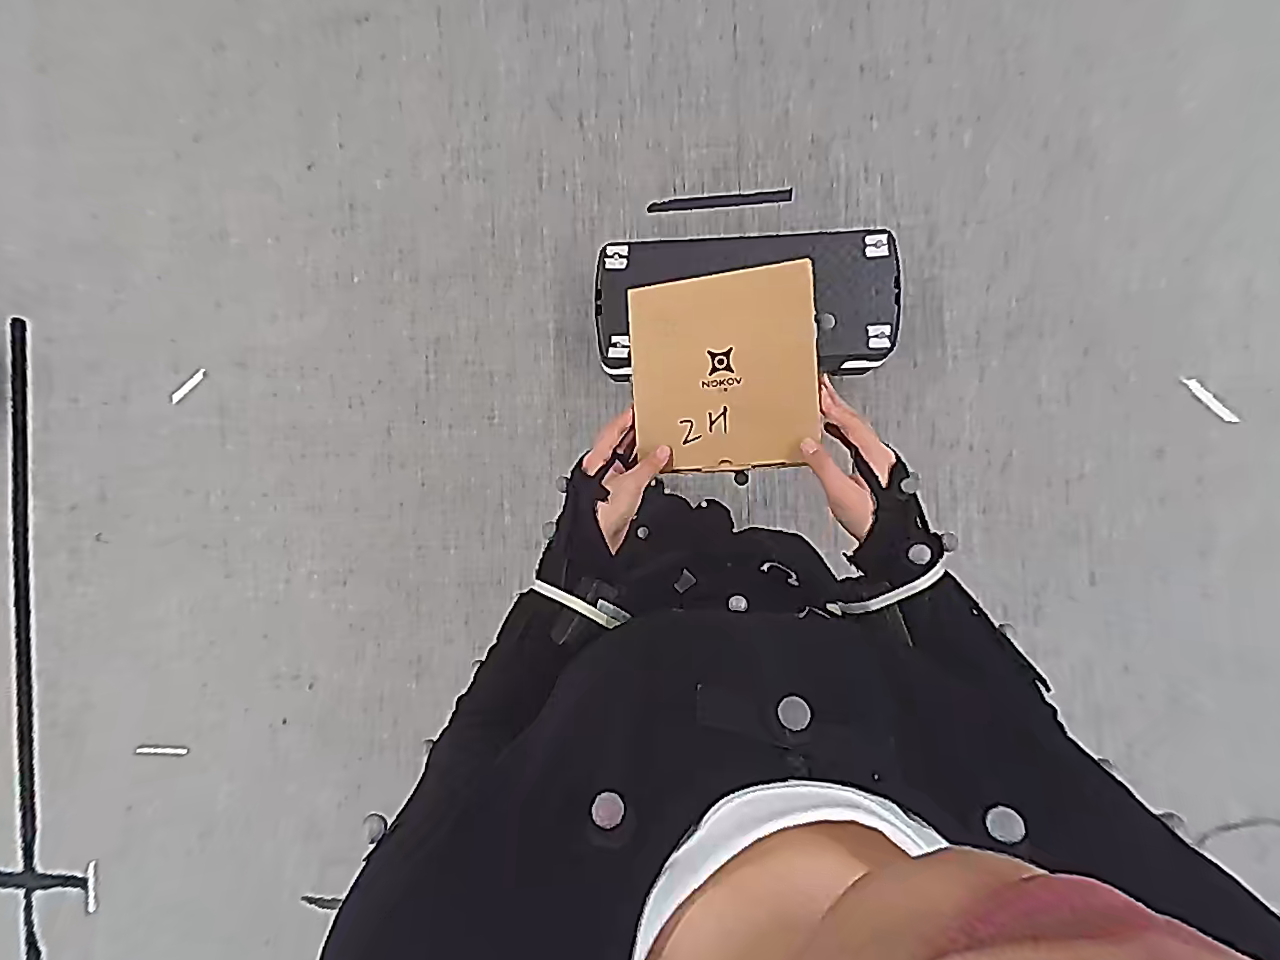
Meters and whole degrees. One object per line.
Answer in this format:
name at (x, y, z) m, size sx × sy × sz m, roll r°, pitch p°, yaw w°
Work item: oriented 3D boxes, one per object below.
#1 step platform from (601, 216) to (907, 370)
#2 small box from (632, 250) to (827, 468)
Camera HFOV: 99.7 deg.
step platform at (0.250, -0.426, 1.266) m, size 0.684 × 0.204 × 0.286 m, roll -1°, pitch 90°, yaw 6°
small box at (0.098, -0.104, 0.551) m, size 0.168 × 0.176 × 0.179 m, roll -3°, pitch 90°, yaw 18°
